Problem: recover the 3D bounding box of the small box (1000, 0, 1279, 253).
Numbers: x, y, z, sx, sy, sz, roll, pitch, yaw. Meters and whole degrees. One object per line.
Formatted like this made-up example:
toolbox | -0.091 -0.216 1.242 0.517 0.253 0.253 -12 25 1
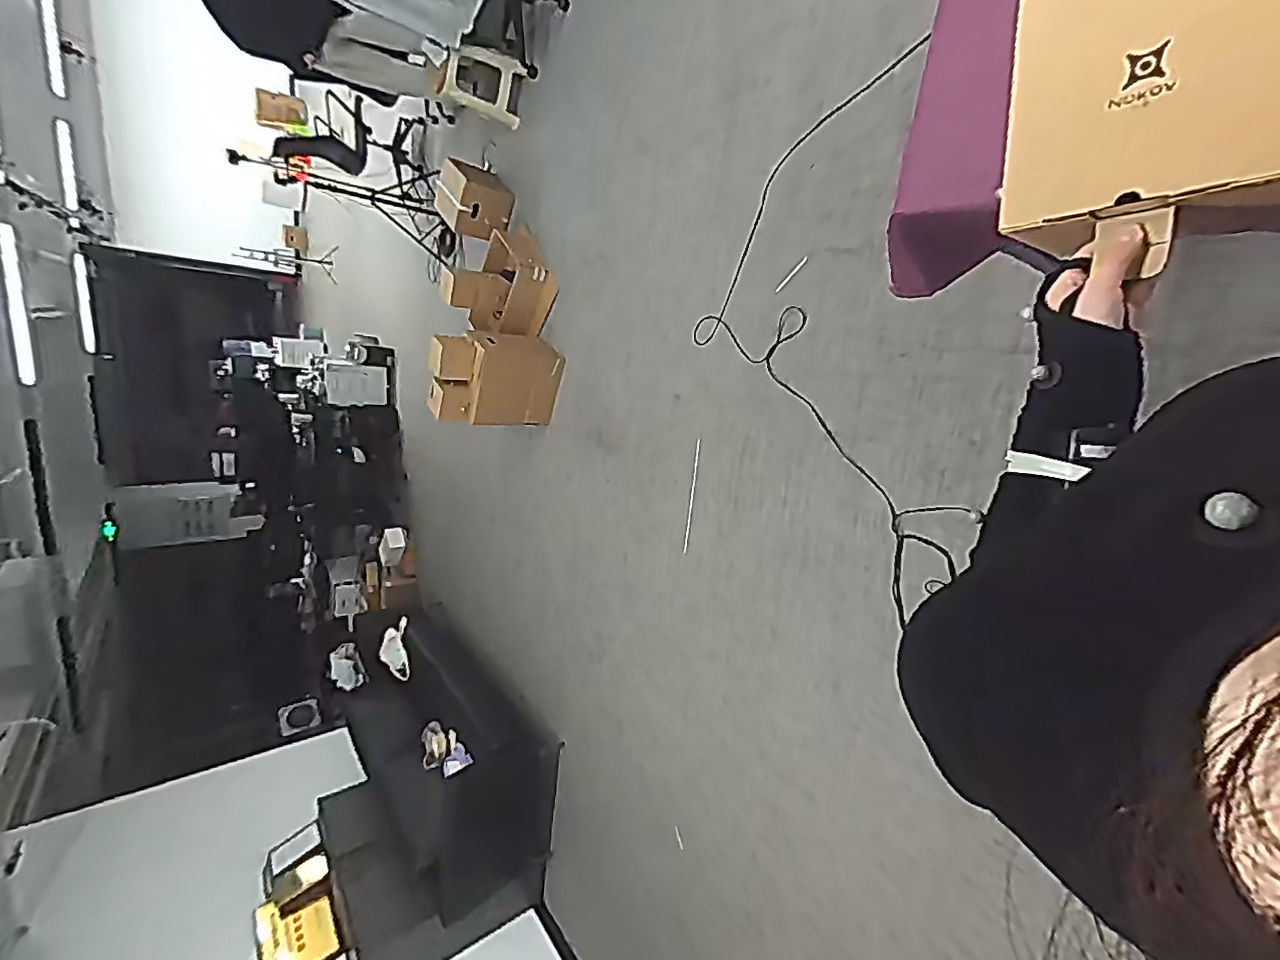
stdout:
small box | 0.425 -0.301 0.443 0.168 0.176 0.179 12 107 50
